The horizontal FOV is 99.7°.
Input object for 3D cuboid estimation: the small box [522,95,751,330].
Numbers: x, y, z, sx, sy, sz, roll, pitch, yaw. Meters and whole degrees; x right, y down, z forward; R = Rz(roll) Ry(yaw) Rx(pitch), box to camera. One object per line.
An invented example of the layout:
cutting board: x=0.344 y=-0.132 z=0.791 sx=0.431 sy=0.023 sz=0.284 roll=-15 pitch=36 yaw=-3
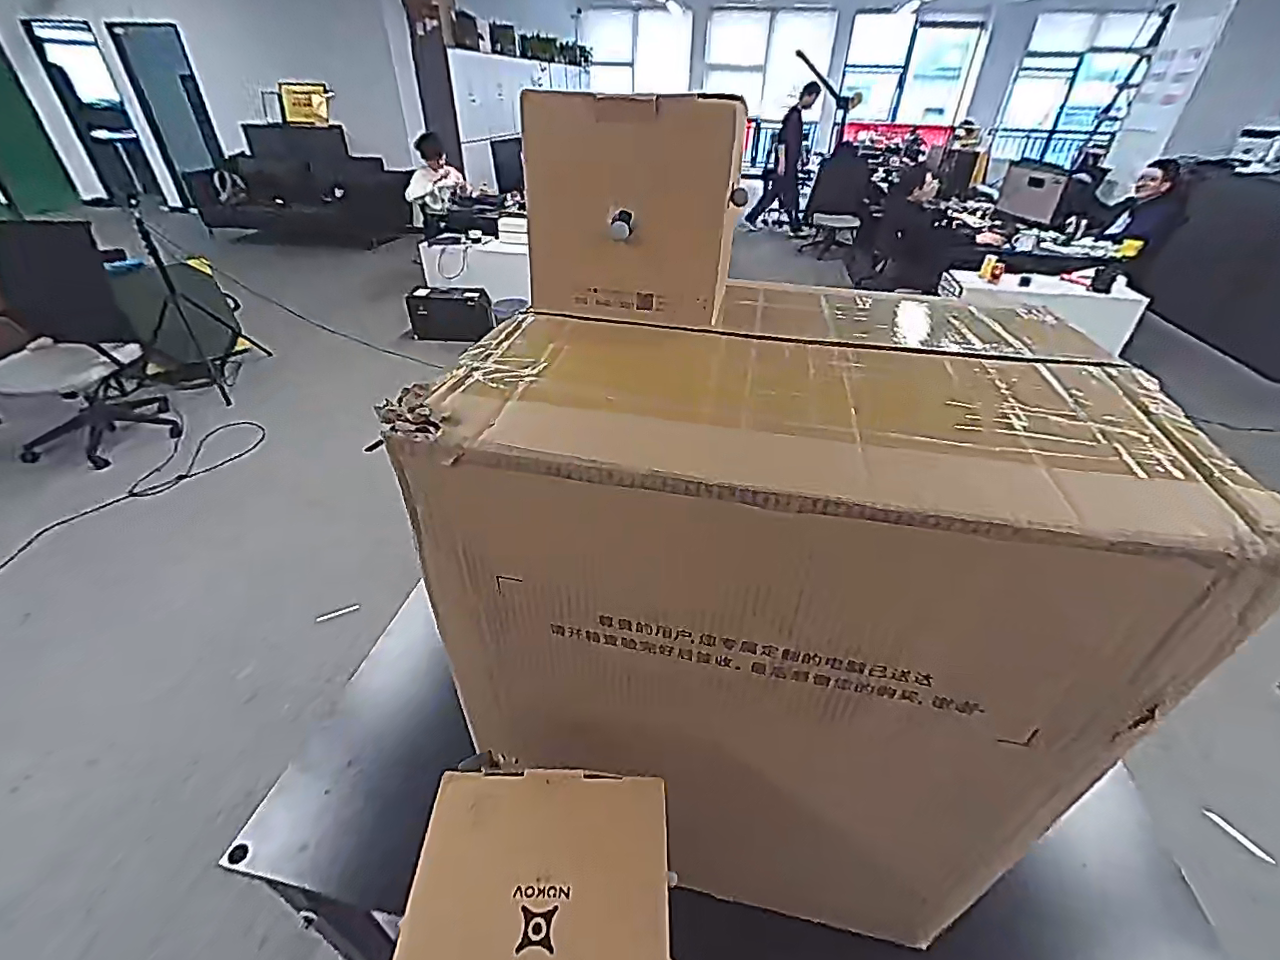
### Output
small box: x=0.007 y=-0.249 z=0.500 sx=0.168 sy=0.176 sz=0.179 roll=8 pitch=35 yaw=8
